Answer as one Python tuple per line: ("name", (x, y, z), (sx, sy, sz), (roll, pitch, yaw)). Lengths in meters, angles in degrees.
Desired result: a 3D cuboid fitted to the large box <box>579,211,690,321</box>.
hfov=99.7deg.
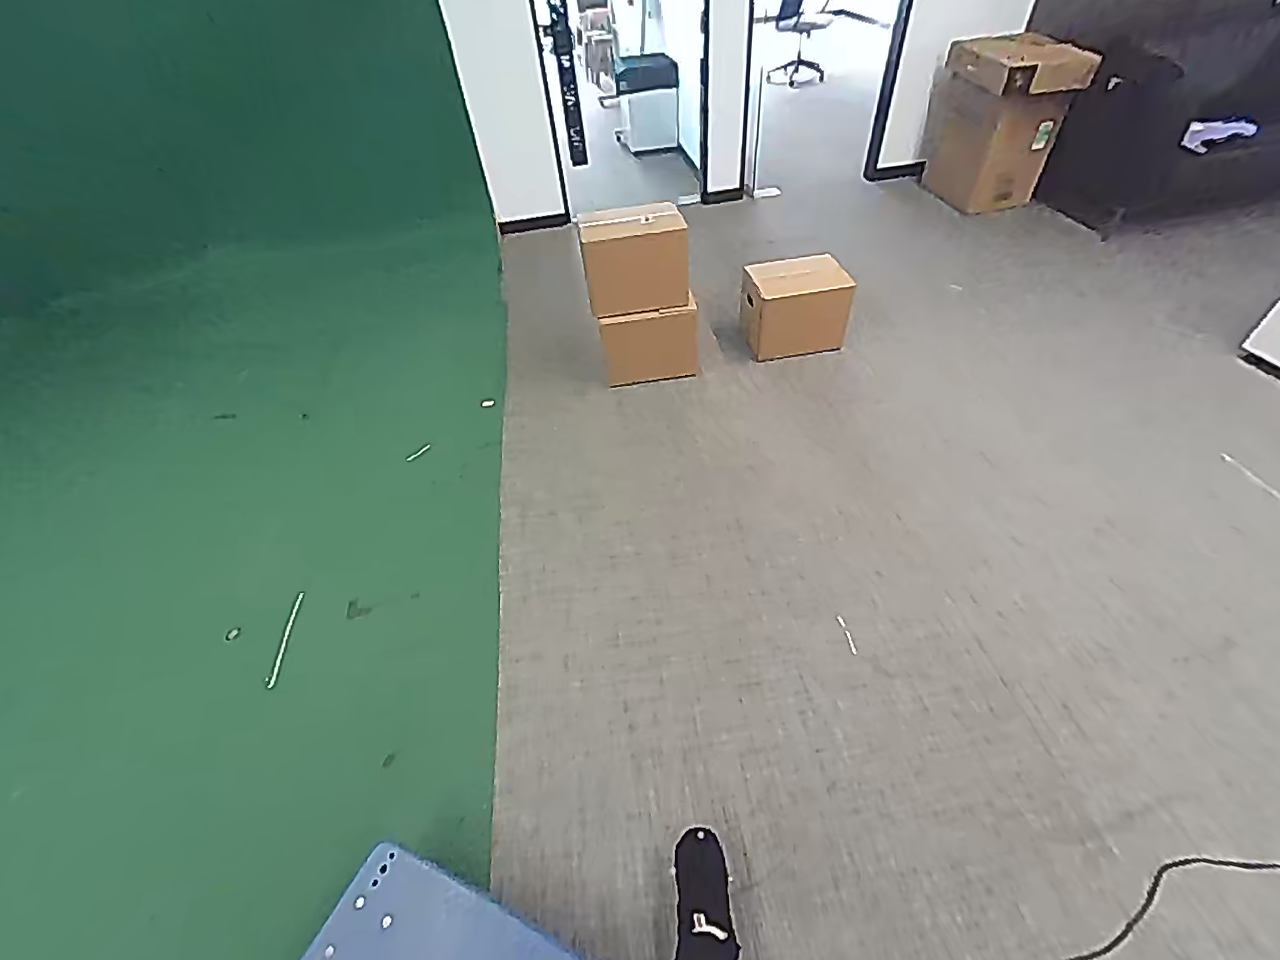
("large box", (-0.024, -0.878, 2.214), (0.408, 0.320, 0.320), (-8, 43, -3))
